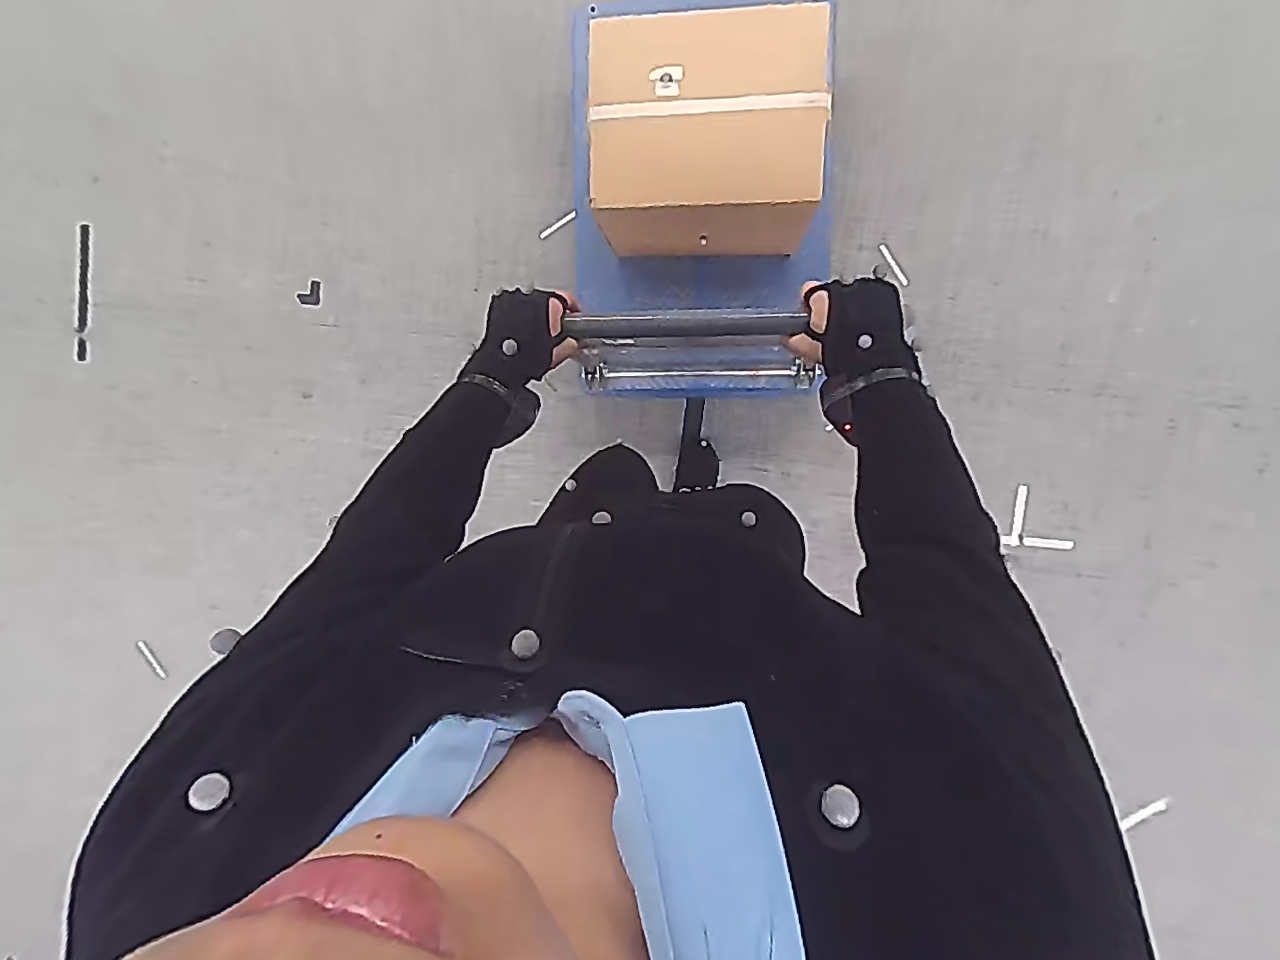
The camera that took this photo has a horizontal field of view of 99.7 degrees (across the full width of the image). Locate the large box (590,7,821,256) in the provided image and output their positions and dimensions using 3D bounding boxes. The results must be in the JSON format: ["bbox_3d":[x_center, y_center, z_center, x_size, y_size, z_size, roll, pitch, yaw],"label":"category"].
[{"bbox_3d":[0.130,-0.661,1.094,0.408,0.320,0.320,1,96,7],"label":"large box"}]
